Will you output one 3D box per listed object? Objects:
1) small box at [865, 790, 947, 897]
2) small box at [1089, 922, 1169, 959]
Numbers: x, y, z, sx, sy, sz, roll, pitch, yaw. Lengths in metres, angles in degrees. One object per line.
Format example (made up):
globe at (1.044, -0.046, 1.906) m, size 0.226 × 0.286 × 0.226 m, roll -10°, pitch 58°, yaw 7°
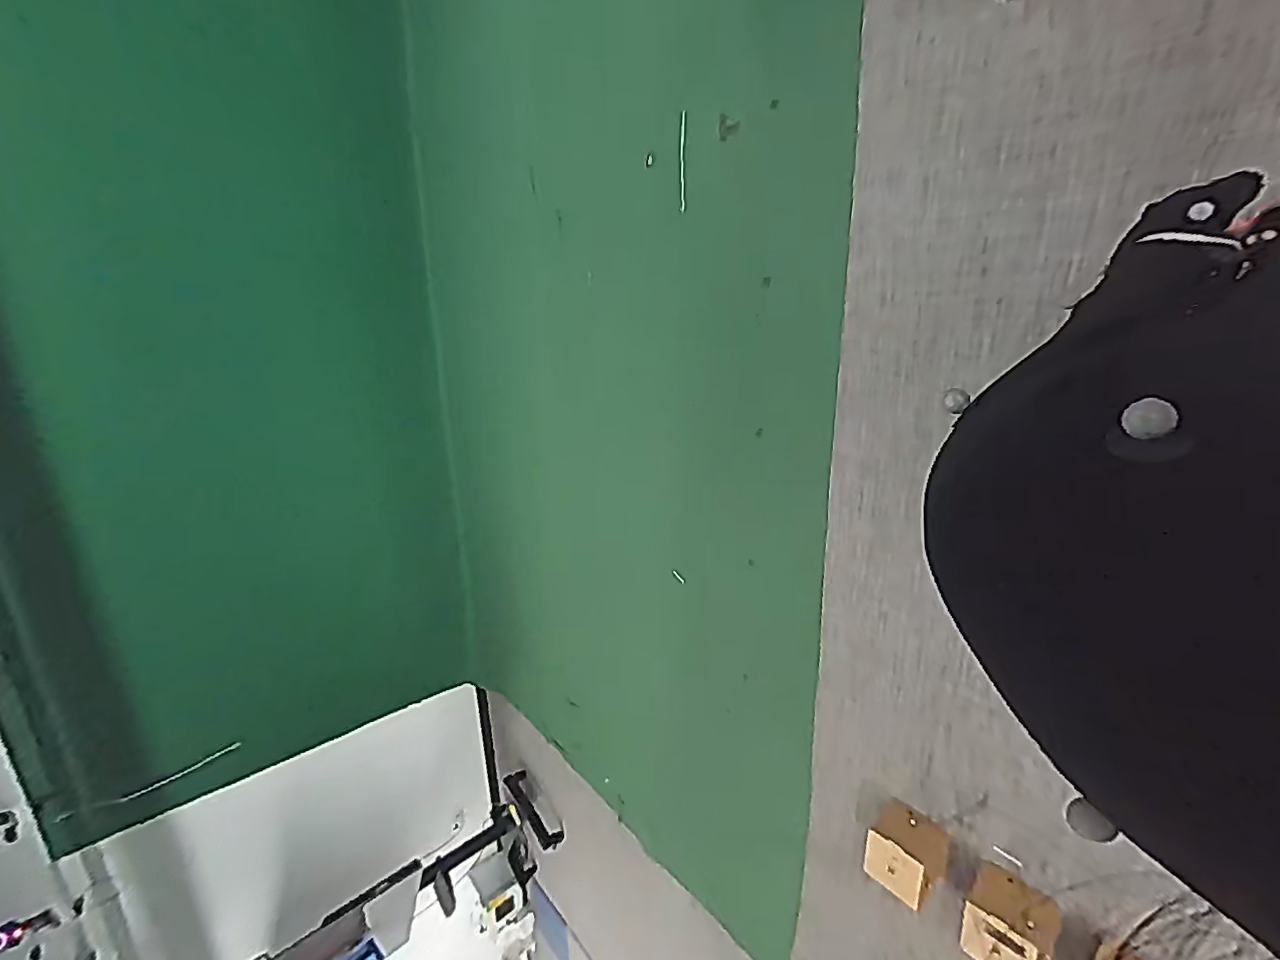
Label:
small box at (0.824, 1.116, 1.672) m, size 0.168 × 0.176 × 0.179 m, roll 18°, pitch 114°, yaw 47°
small box at (1.164, 1.221, 1.280) m, size 0.168 × 0.176 × 0.179 m, roll 18°, pitch 114°, yaw 47°
